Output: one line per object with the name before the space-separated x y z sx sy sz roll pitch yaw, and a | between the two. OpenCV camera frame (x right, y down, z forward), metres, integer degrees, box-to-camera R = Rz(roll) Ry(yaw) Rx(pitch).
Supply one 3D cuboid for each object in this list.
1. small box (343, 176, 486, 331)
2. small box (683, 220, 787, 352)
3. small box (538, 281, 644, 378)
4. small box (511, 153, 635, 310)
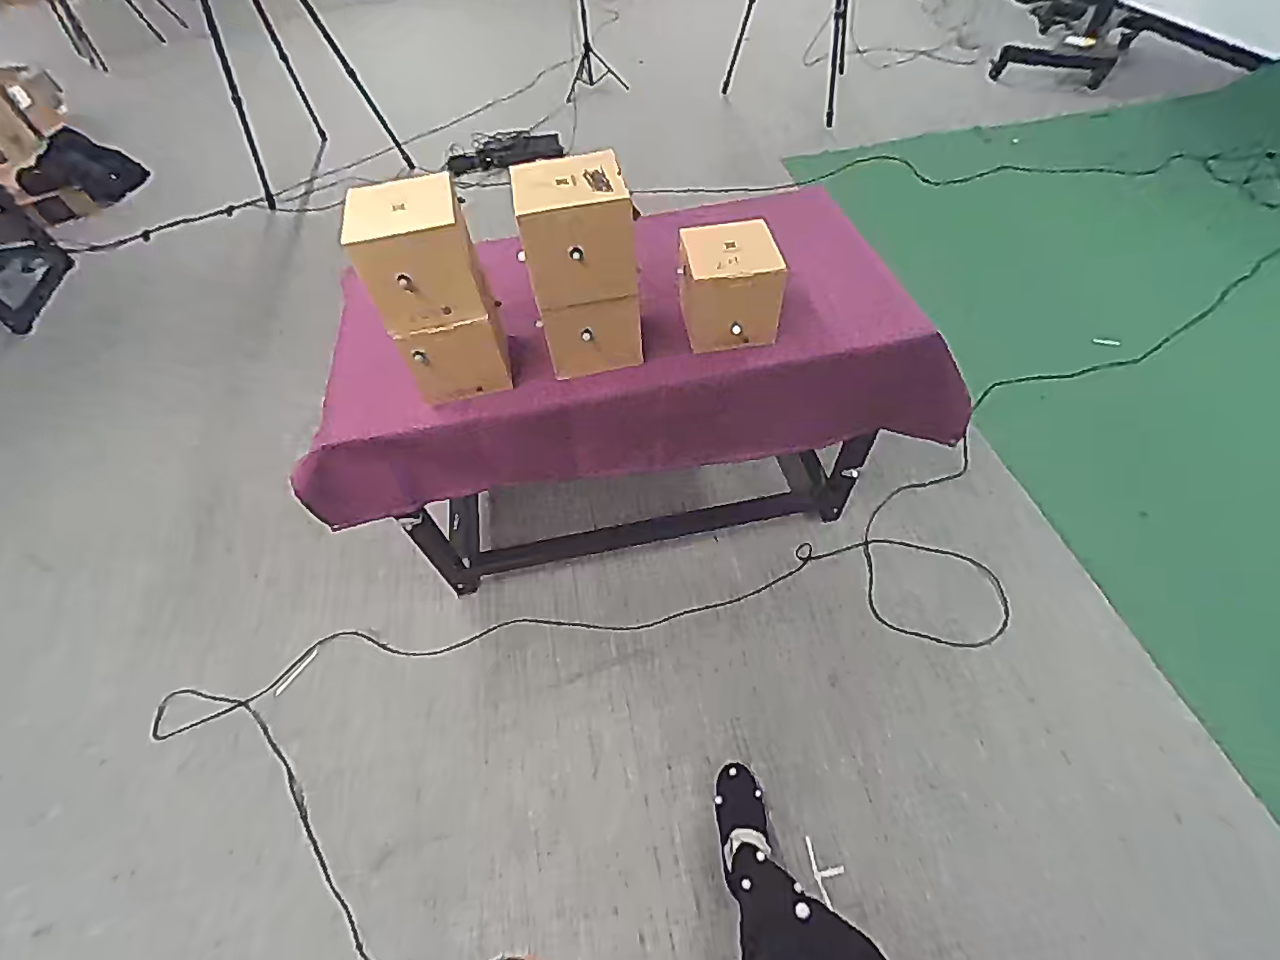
small box | -0.363 -0.366 0.897 0.168 0.176 0.179 -15 53 -5
small box | 0.174 -0.376 1.054 0.168 0.176 0.179 -7 54 0
small box | -0.096 -0.318 1.039 0.179 0.176 0.168 -13 54 -4
small box | -0.107 -0.411 0.903 0.179 0.176 0.168 -11 54 -2
